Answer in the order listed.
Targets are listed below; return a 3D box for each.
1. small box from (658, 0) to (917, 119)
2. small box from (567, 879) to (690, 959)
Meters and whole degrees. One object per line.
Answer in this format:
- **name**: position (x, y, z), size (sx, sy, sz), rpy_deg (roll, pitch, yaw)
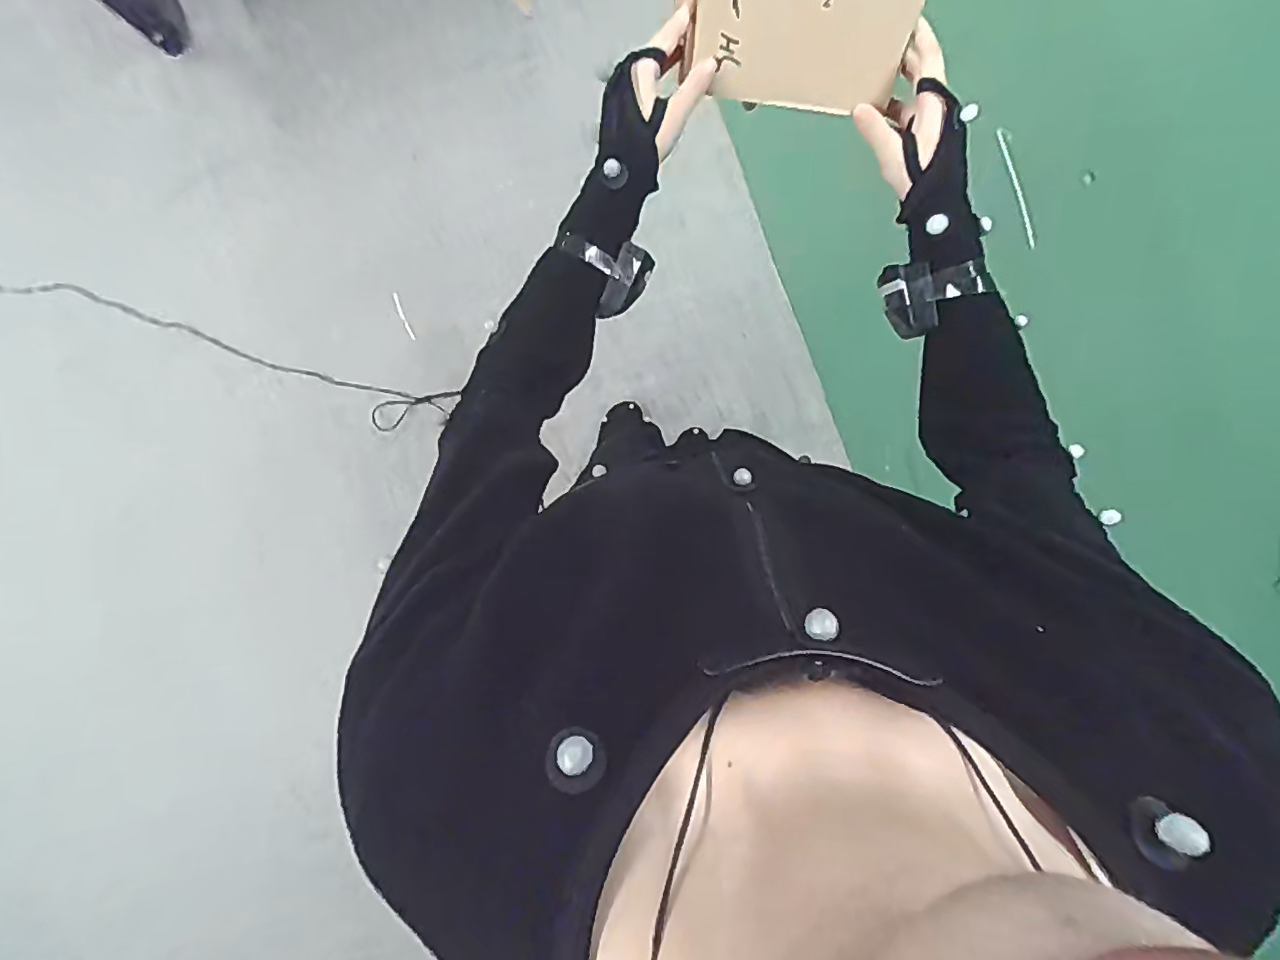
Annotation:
- **small box**: position (0.120, -0.425, 0.460), size (0.179, 0.176, 0.168), rpy_deg (1, 129, -8)
- **small box**: position (-0.014, 0.830, 0.923), size (0.179, 0.176, 0.168), rpy_deg (-13, 96, 6)
